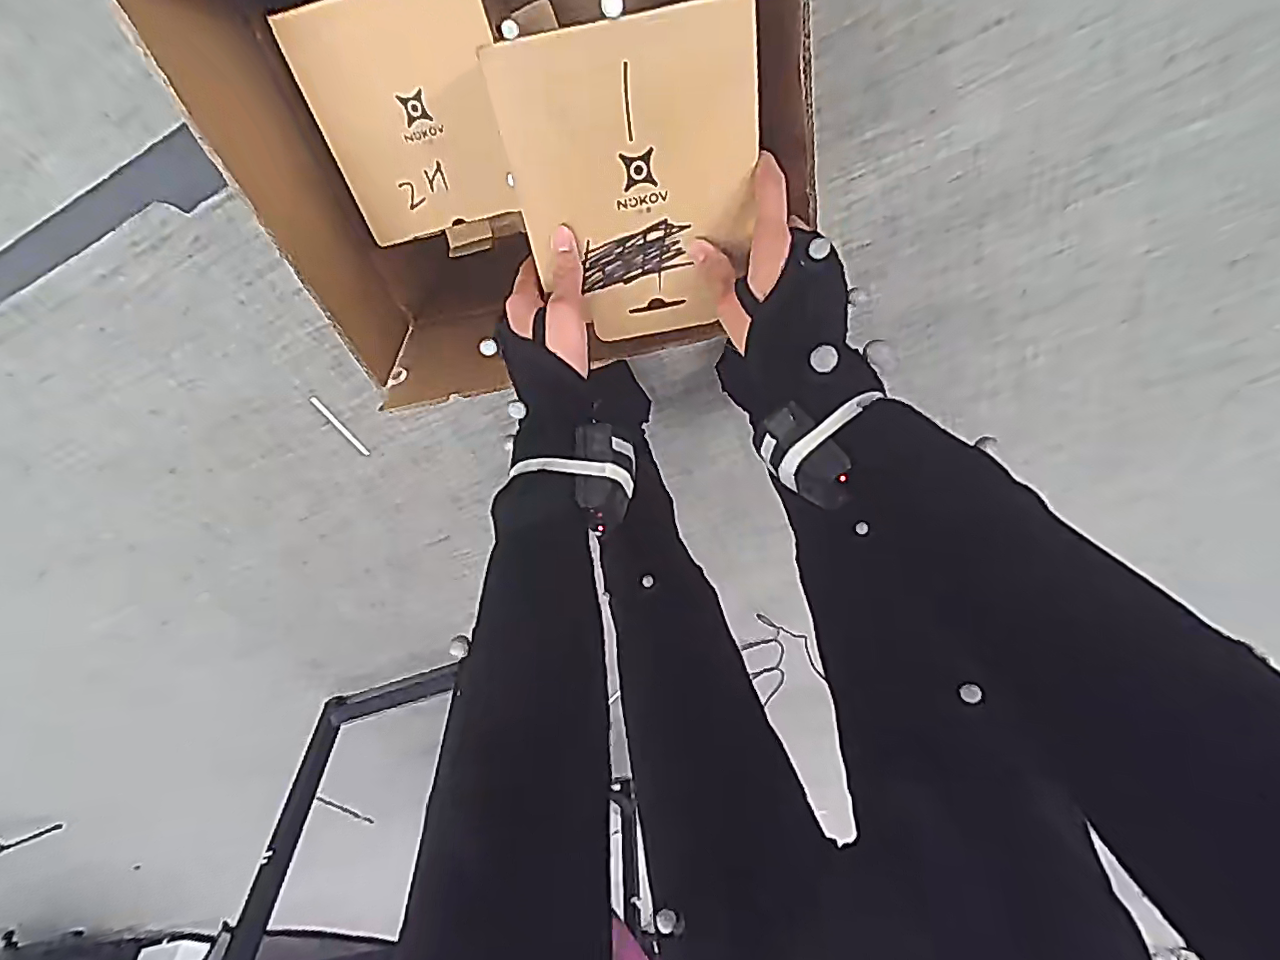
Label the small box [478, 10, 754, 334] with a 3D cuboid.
[{"bbox_3d":[-0.010,-0.243,0.431,0.168,0.176,0.179,-11,128,2],"label":"small box"}]
